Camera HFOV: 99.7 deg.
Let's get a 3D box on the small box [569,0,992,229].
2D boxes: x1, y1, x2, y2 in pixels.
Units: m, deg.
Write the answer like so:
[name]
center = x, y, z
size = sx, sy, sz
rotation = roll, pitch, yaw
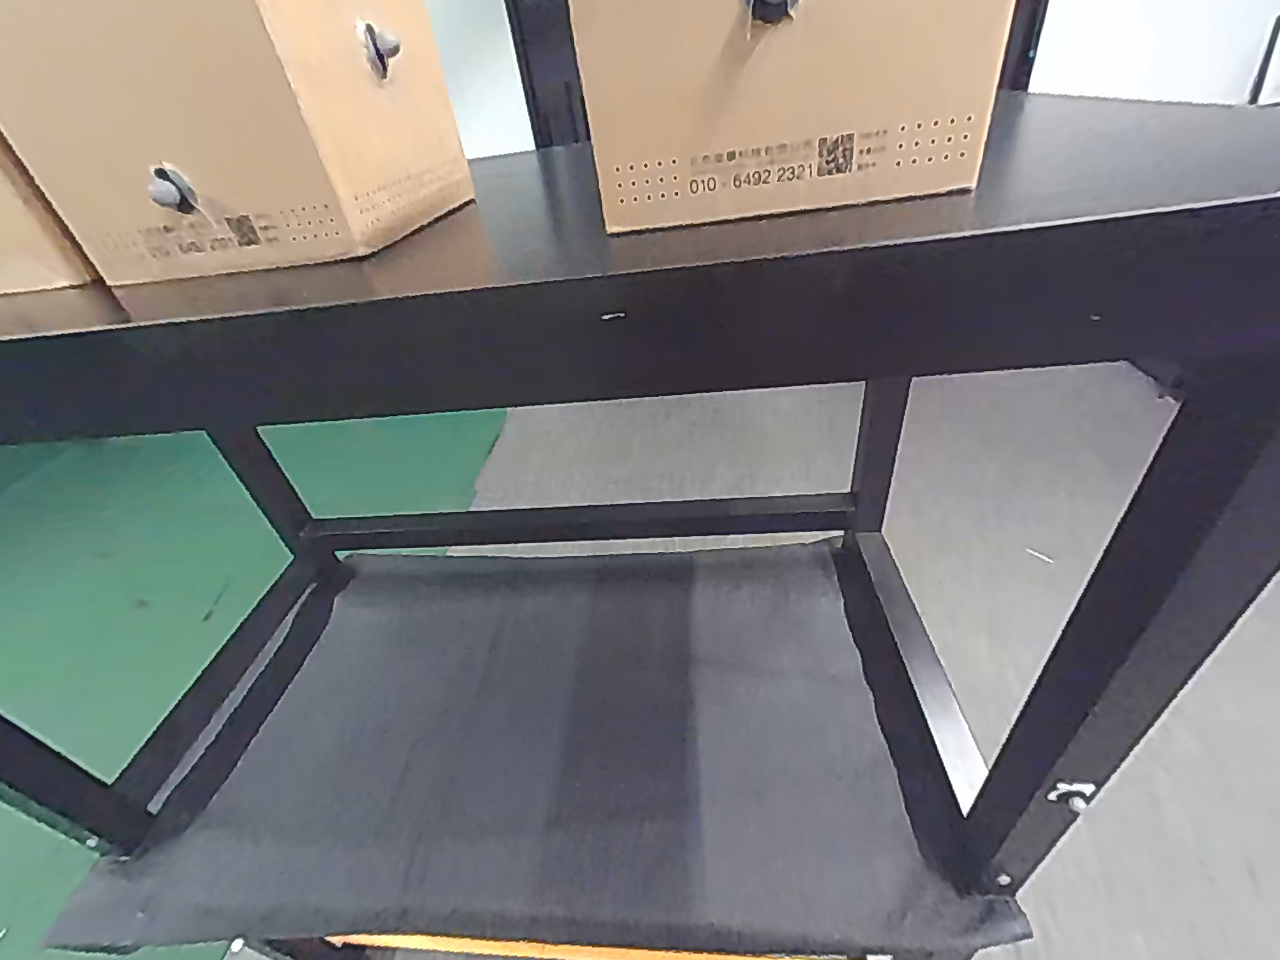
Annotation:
[small box]
center = 0.061, -0.233, 0.269
size = 0.168, 0.176, 0.179
rotation = -3, 36, 8
